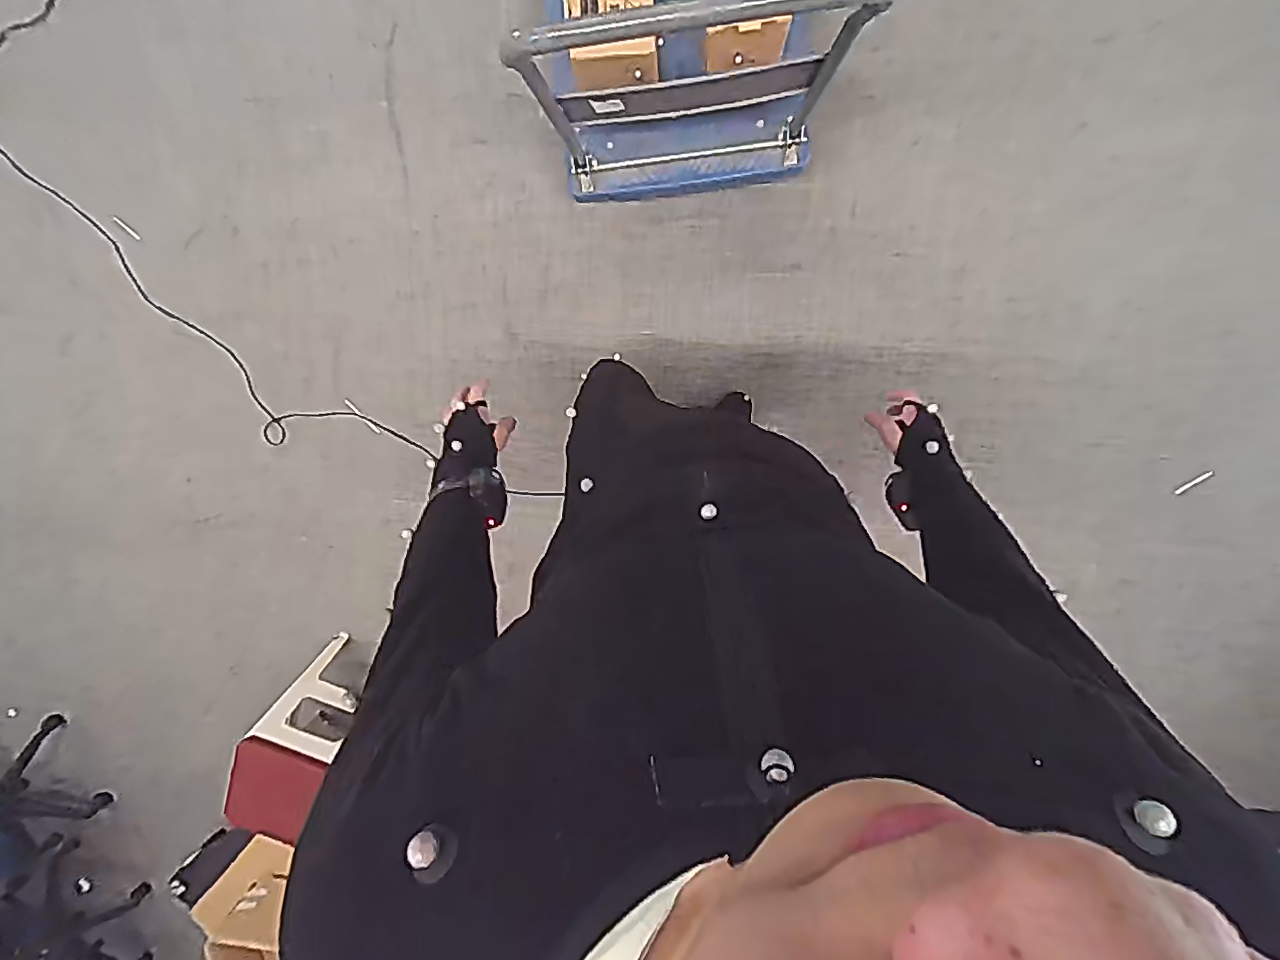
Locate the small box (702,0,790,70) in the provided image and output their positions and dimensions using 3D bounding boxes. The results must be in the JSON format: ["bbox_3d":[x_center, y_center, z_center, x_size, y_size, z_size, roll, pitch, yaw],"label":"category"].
[{"bbox_3d":[0.217,-1.009,1.133,0.168,0.176,0.179,-3,103,6],"label":"small box"}]
